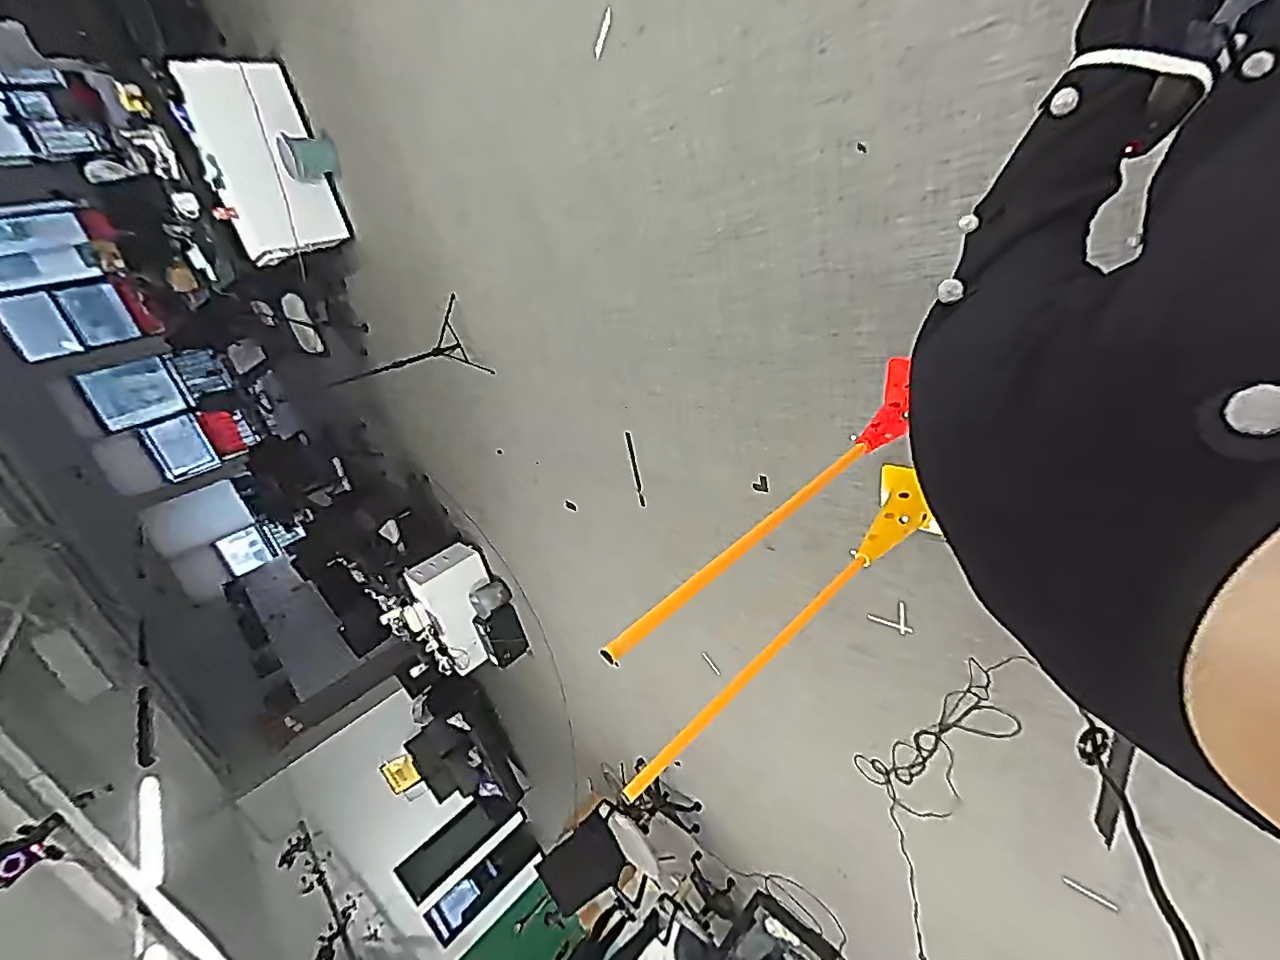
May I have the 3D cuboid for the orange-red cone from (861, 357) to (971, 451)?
[{"bbox_3d":[0.656,-0.159,1.366,0.198,0.360,0.199,21,129,41],"label":"orange-red cone"}]
